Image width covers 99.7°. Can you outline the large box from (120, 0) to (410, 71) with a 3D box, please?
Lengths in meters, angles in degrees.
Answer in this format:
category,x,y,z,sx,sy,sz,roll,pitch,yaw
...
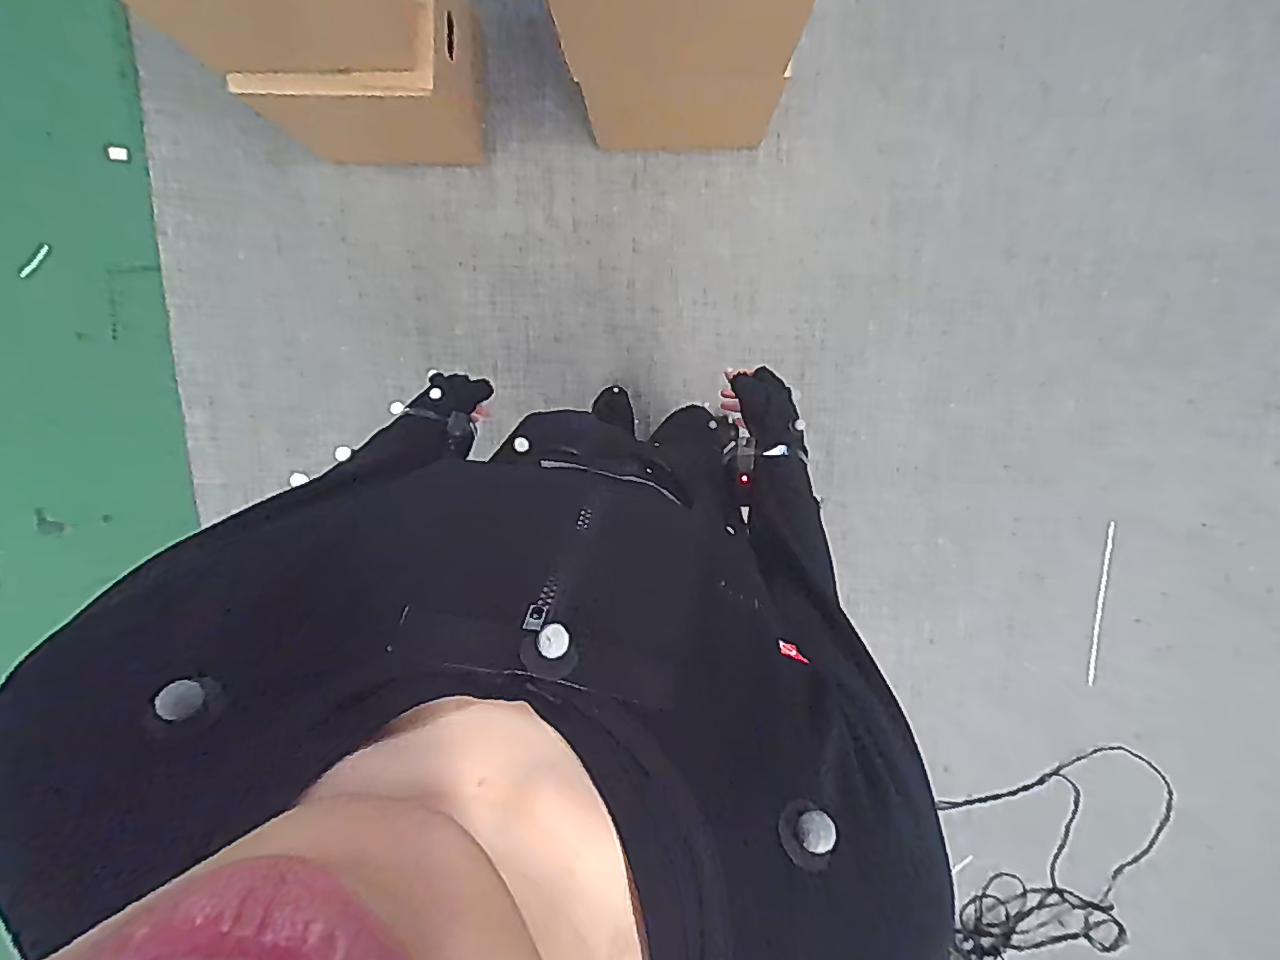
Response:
category,x,y,z,sx,sy,sz,roll,pitch,yaw
large box,-0.628,-0.908,0.856,0.408,0.320,0.320,1,96,1
